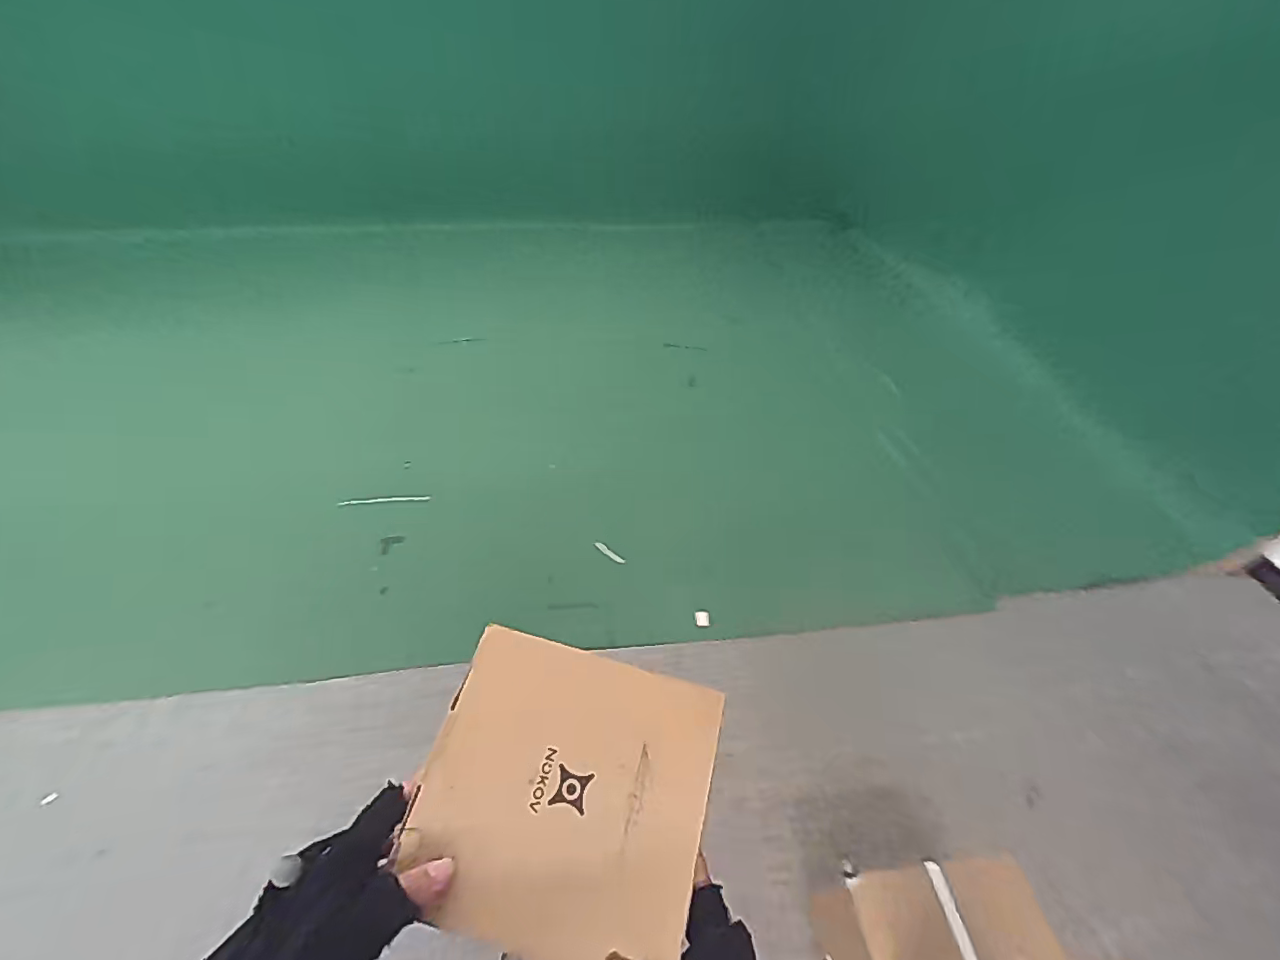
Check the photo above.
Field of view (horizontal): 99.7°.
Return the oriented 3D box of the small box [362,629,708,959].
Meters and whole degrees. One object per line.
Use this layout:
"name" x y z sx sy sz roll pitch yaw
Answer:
"small box" -0.059 0.230 0.403 0.179 0.176 0.168 12 60 3
